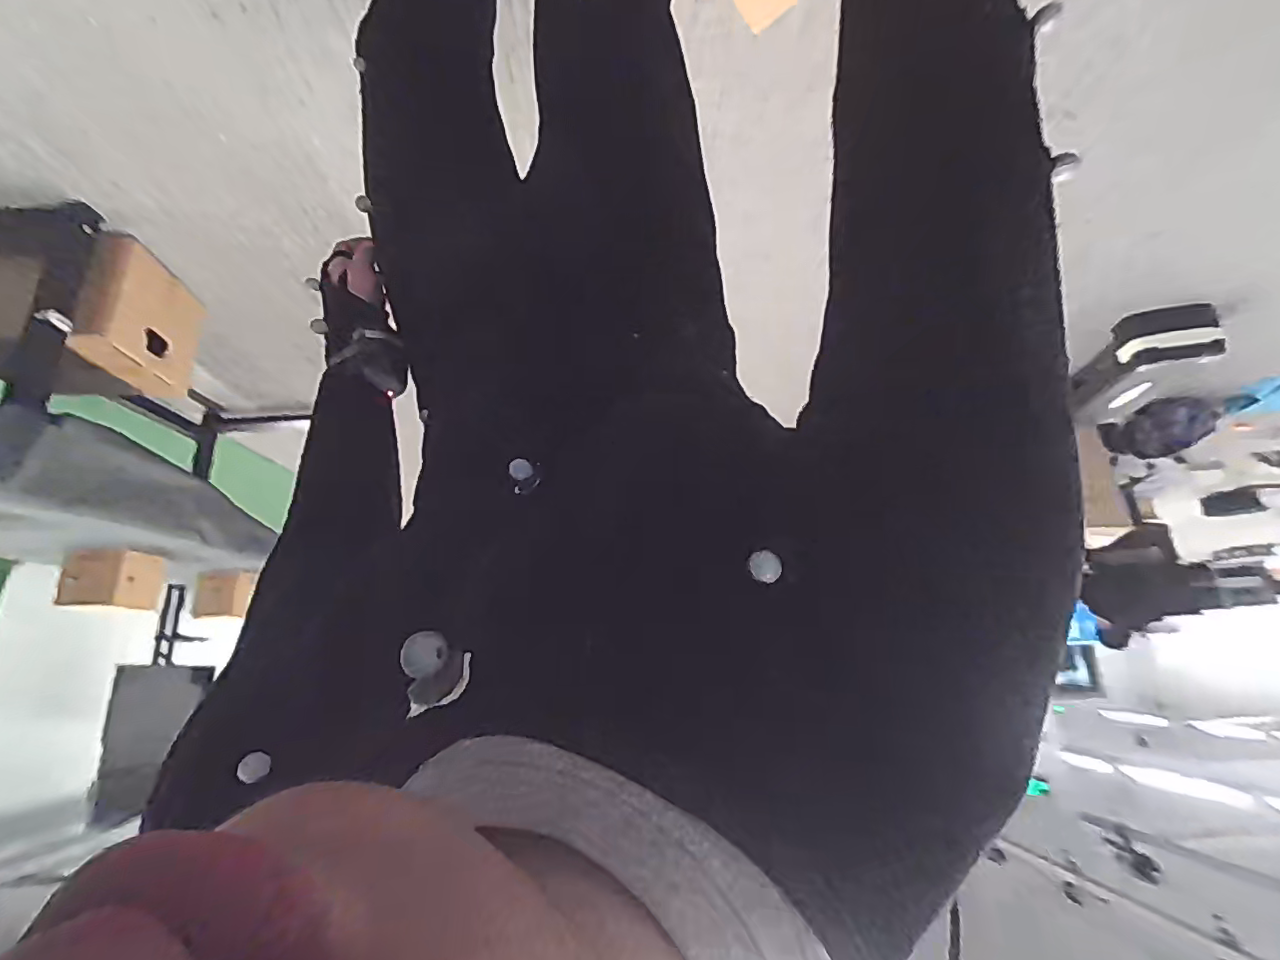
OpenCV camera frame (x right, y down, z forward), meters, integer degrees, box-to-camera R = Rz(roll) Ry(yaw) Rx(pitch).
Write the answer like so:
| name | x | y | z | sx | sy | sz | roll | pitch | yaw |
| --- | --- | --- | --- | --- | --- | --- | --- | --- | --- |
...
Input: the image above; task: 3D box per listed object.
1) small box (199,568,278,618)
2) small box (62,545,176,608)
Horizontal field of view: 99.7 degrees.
| name | x | y | z | sx | sy | sz | roll | pitch | yaw |
| --- | --- | --- | --- | --- | --- | --- | --- | --- | --- |
| small box | -1.540 | 0.436 | 2.083 | 0.168 | 0.176 | 0.179 | -4 | 161 | 4 |
| small box | -1.574 | 0.294 | 1.644 | 0.168 | 0.176 | 0.179 | 0 | 163 | -4 |
